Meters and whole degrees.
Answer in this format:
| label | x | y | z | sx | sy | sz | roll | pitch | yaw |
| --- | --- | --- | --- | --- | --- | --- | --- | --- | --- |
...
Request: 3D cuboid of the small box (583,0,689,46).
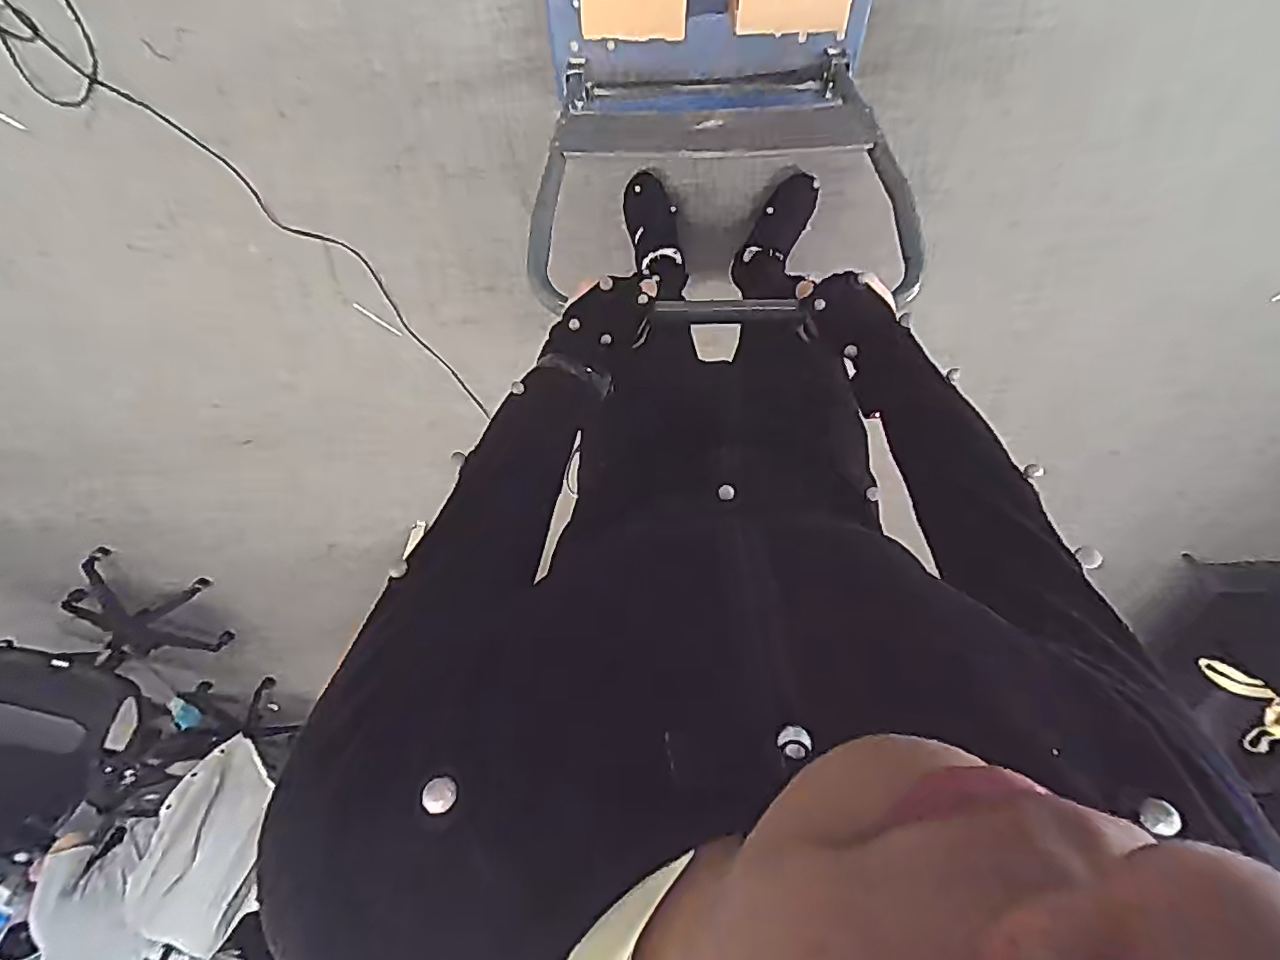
| label | x | y | z | sx | sy | sz | roll | pitch | yaw |
| --- | --- | --- | --- | --- | --- | --- | --- | --- | --- |
| small box | -0.005 | -0.818 | 0.853 | 0.168 | 0.176 | 0.179 | 2 | 142 | 1 |
